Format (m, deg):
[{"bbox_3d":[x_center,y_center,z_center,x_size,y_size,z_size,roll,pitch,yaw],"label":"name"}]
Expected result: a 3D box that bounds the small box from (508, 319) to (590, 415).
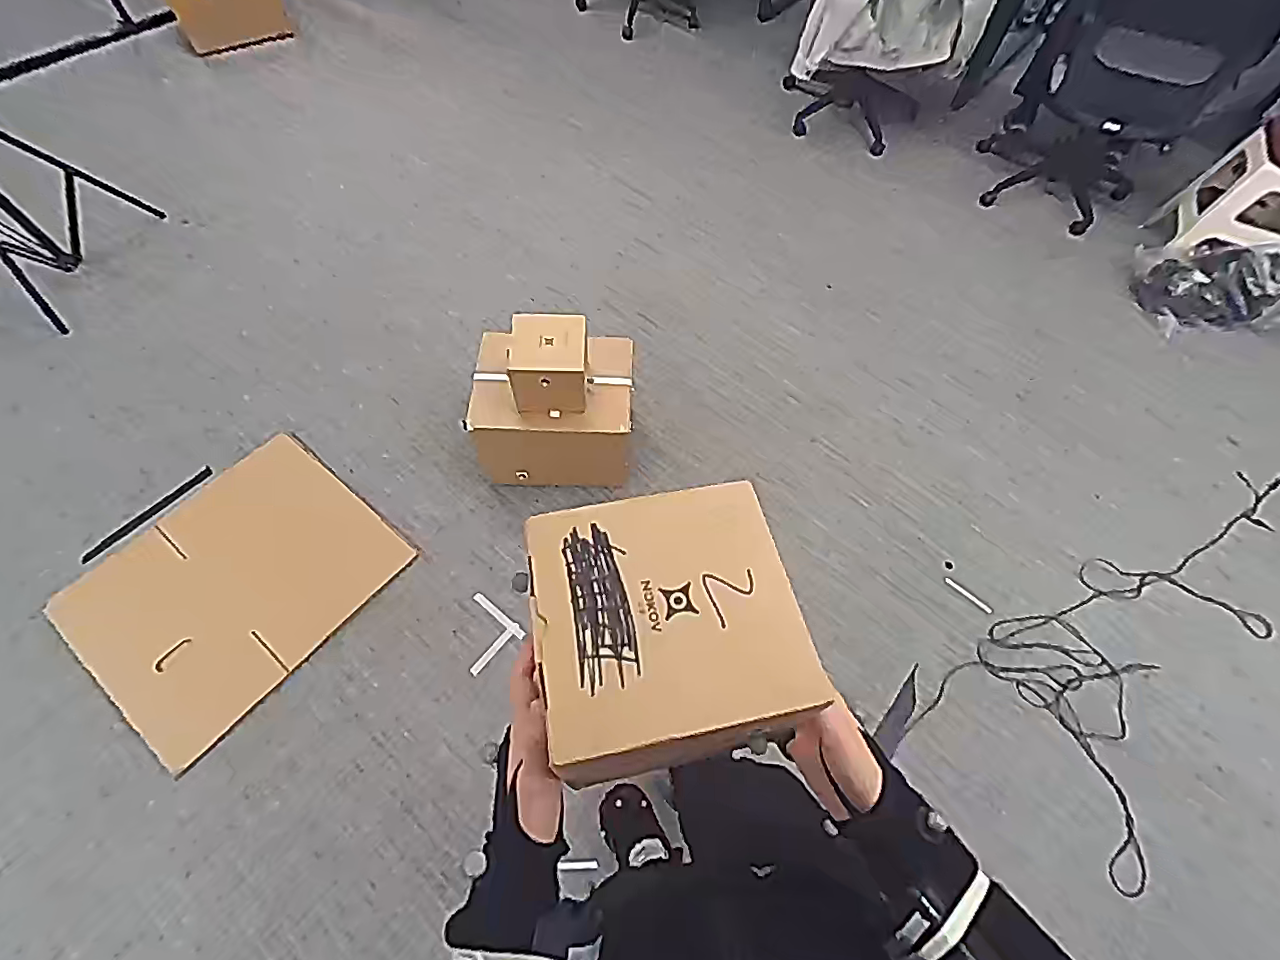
[{"bbox_3d":[-0.215,-0.270,1.315,0.179,0.176,0.168,0,64,-4],"label":"small box"}]
